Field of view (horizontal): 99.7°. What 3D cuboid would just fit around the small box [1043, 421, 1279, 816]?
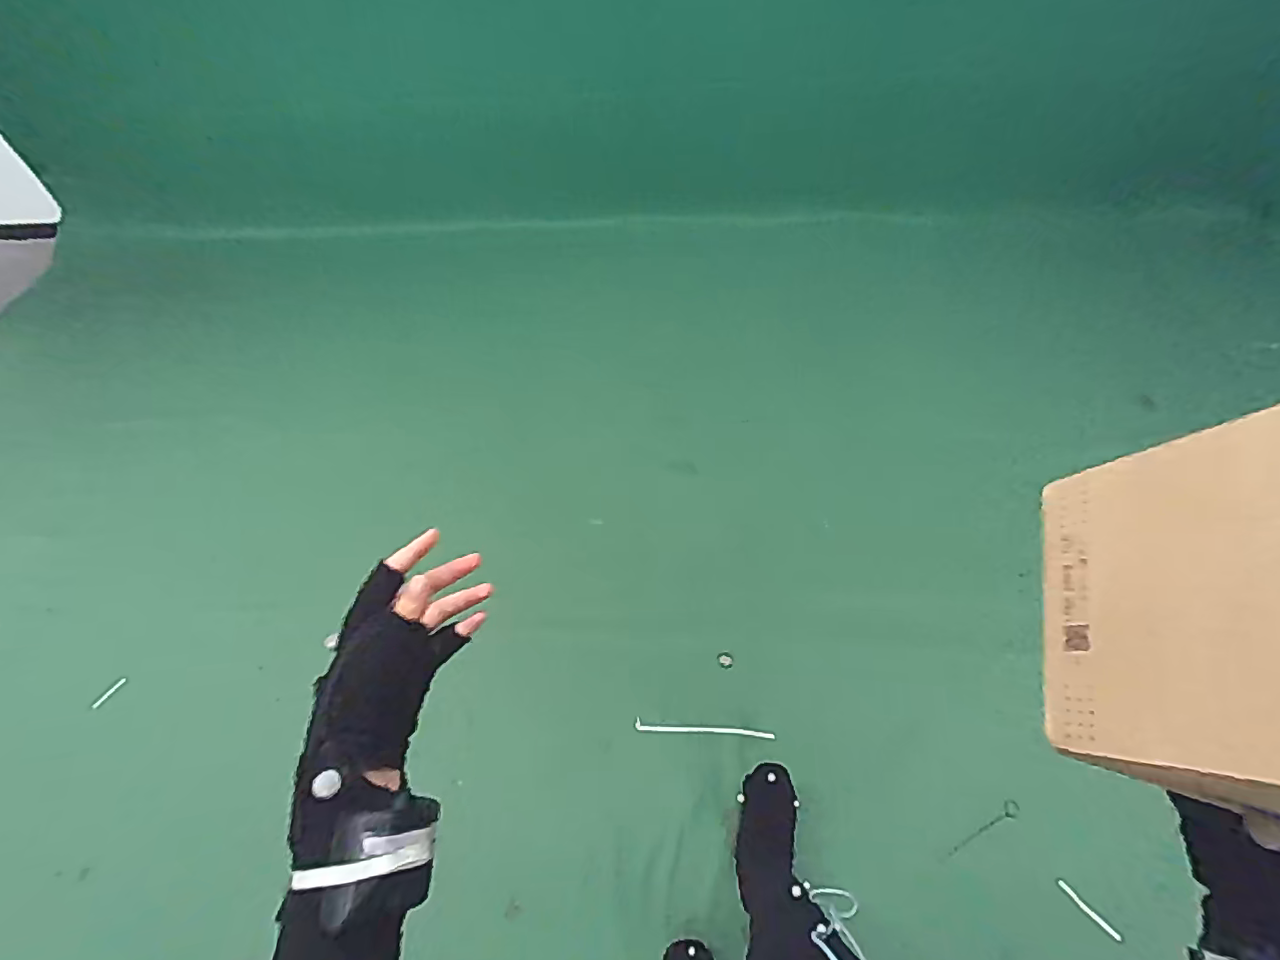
[{"bbox_3d":[0.344,0.074,0.260,0.179,0.176,0.168,21,68,-7],"label":"small box"}]
